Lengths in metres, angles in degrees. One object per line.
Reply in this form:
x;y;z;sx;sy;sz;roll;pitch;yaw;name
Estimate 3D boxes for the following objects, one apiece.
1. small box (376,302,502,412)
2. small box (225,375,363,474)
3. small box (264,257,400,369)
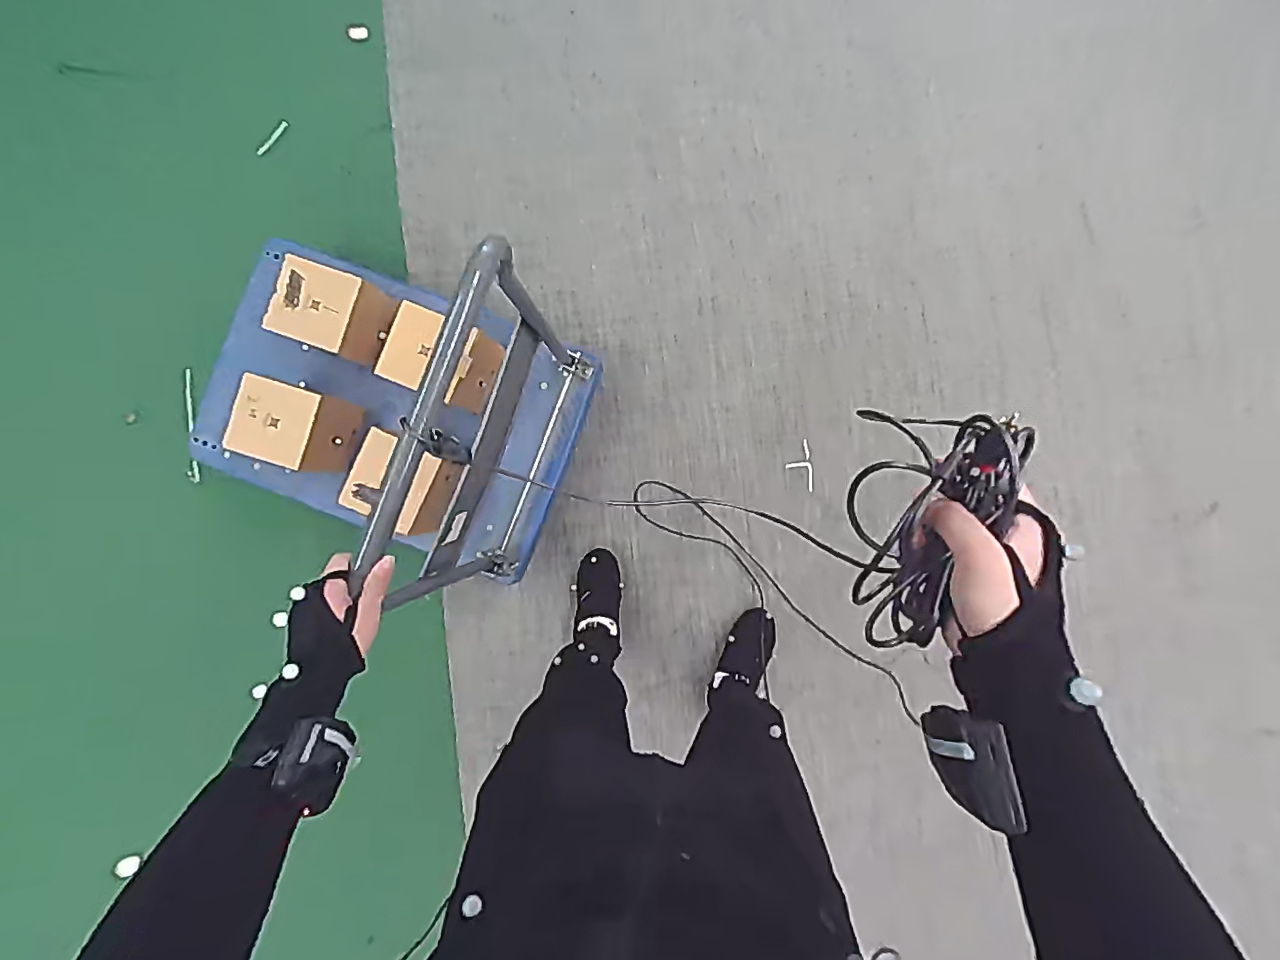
-0.428;-0.258;1.180;0.179;0.176;0.168;22;90;3;small box
-0.751;-0.115;1.195;0.179;0.176;0.168;17;89;4;small box
-0.670;-0.359;1.196;0.179;0.176;0.168;19;90;3;small box
